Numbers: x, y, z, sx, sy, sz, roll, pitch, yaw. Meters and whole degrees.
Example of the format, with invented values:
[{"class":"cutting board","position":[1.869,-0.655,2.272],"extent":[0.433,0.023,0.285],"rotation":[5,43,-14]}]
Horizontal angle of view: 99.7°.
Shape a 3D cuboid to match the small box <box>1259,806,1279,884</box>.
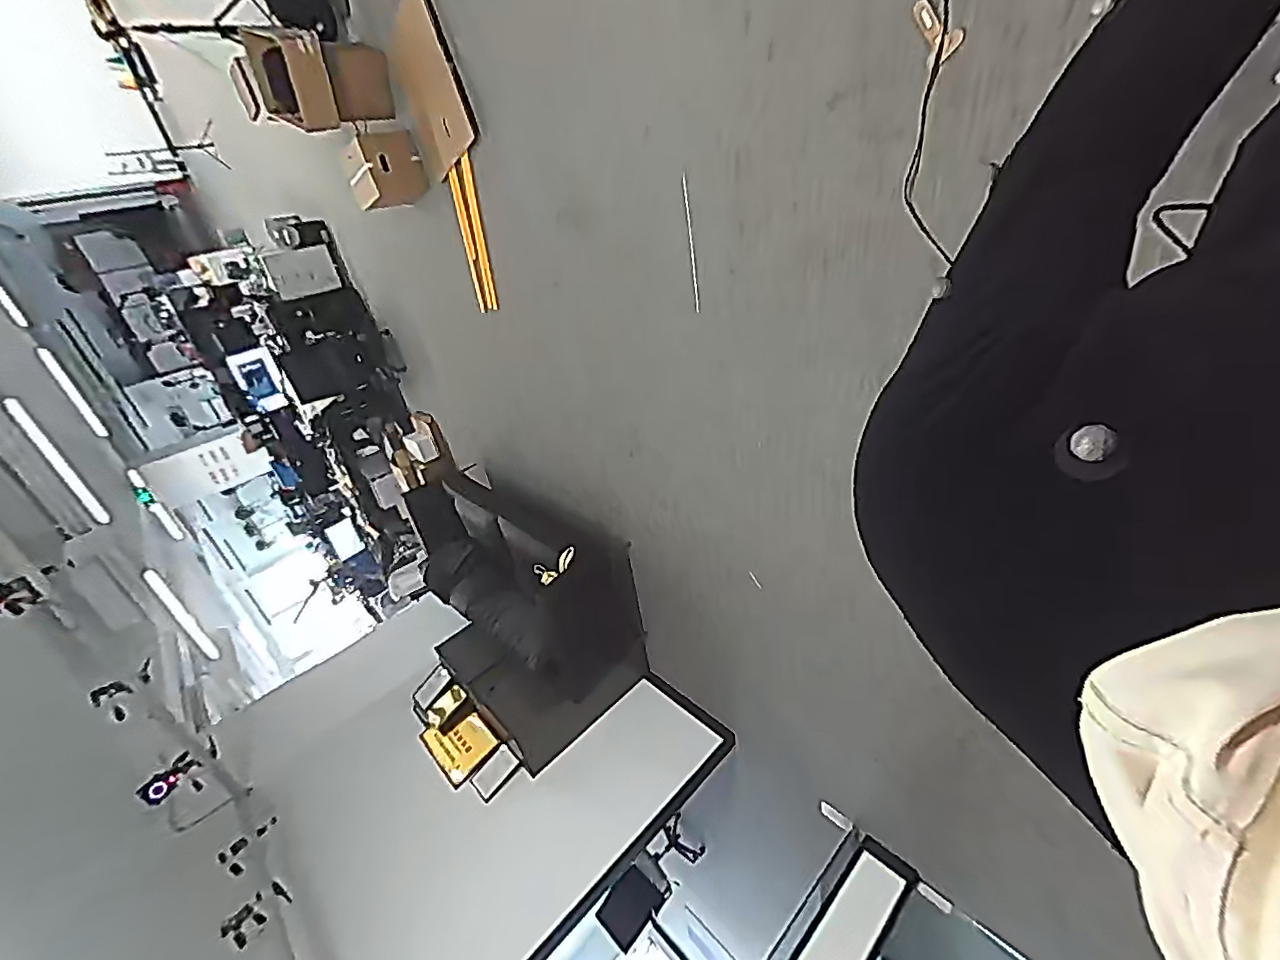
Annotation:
[{"class":"small box","position":[1.708,0.936,1.342],"extent":[0.179,0.176,0.168],"rotation":[25,135,40]}]
